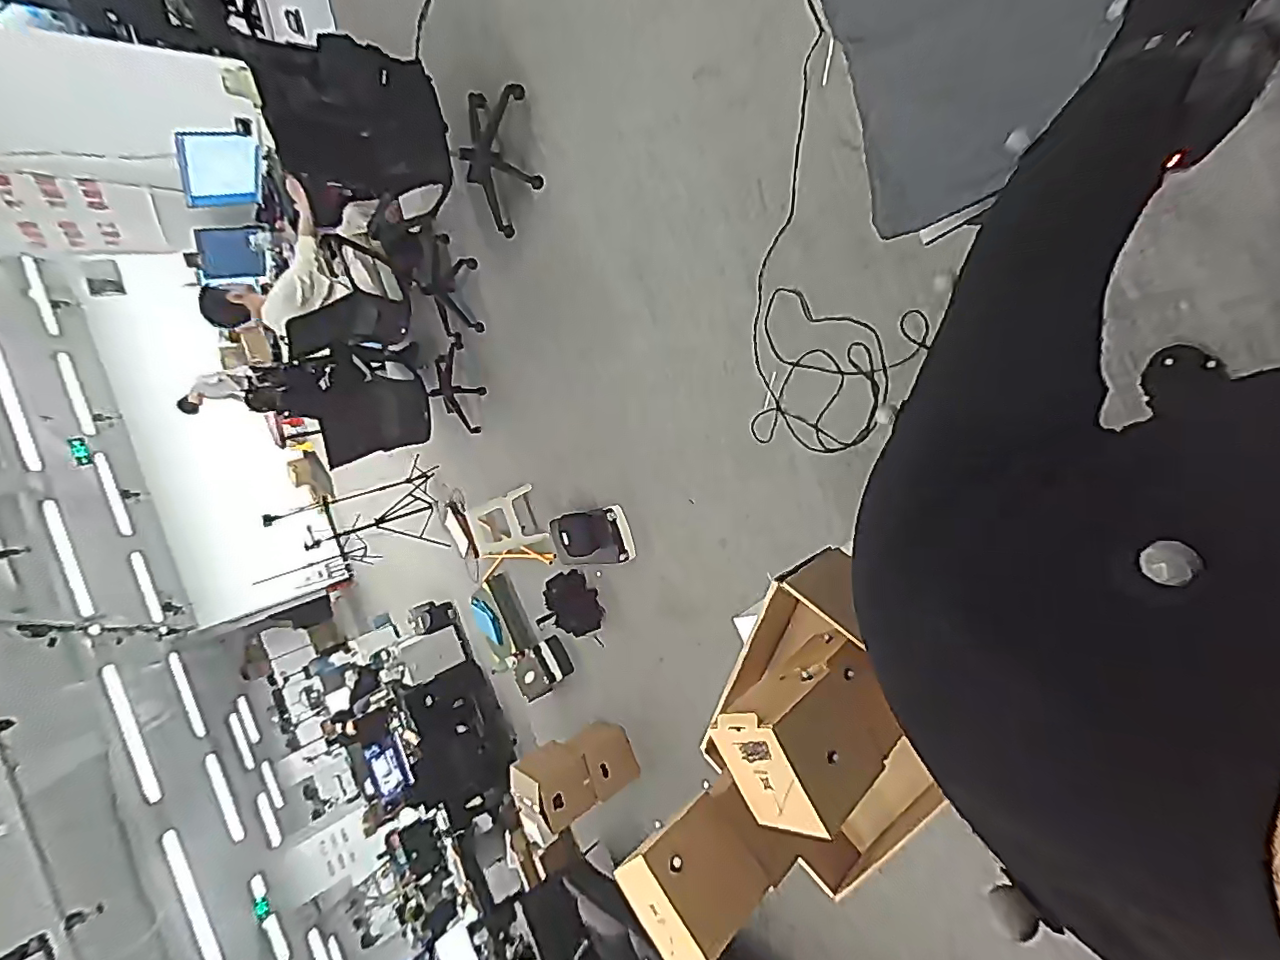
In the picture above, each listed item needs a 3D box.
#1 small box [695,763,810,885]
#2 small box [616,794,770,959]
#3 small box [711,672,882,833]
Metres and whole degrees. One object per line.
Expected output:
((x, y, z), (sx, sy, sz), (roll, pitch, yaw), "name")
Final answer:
((0.213, 0.660, 1.064), (0.168, 0.176, 0.179), (51, 138, 20), "small box")
((0.091, 0.691, 0.956), (0.179, 0.176, 0.168), (48, 138, 23), "small box")
((0.259, 0.436, 0.898), (0.179, 0.176, 0.168), (62, 144, 6), "small box")
